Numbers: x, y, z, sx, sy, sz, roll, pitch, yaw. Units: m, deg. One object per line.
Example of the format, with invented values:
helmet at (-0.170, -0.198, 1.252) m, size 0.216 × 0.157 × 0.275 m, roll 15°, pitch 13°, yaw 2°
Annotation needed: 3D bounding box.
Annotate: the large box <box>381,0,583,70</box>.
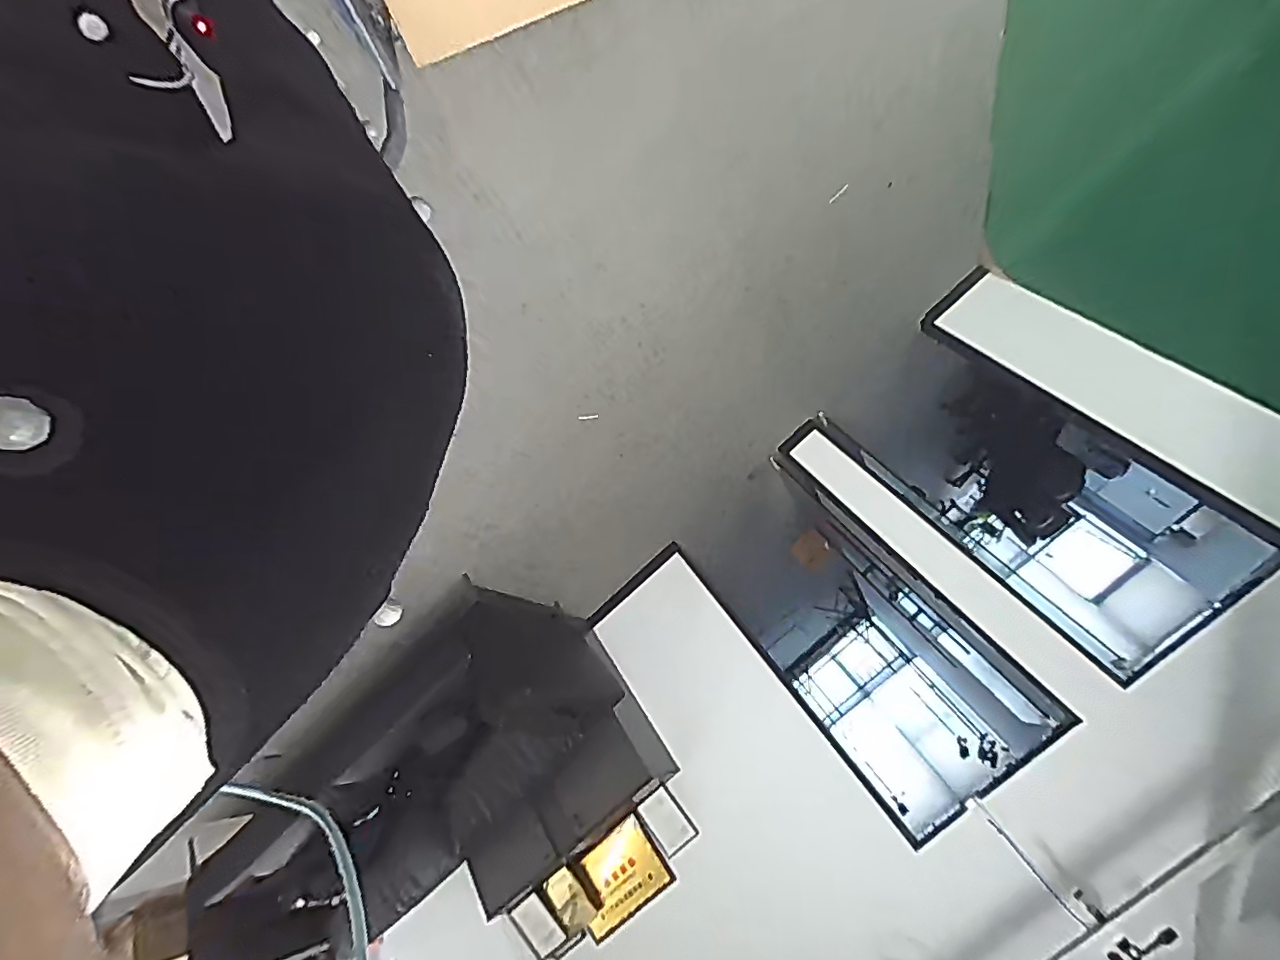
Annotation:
large box at (-0.282, -0.954, 0.867) m, size 0.408 × 0.320 × 0.320 m, roll -25°, pitch 147°, yaw -2°
